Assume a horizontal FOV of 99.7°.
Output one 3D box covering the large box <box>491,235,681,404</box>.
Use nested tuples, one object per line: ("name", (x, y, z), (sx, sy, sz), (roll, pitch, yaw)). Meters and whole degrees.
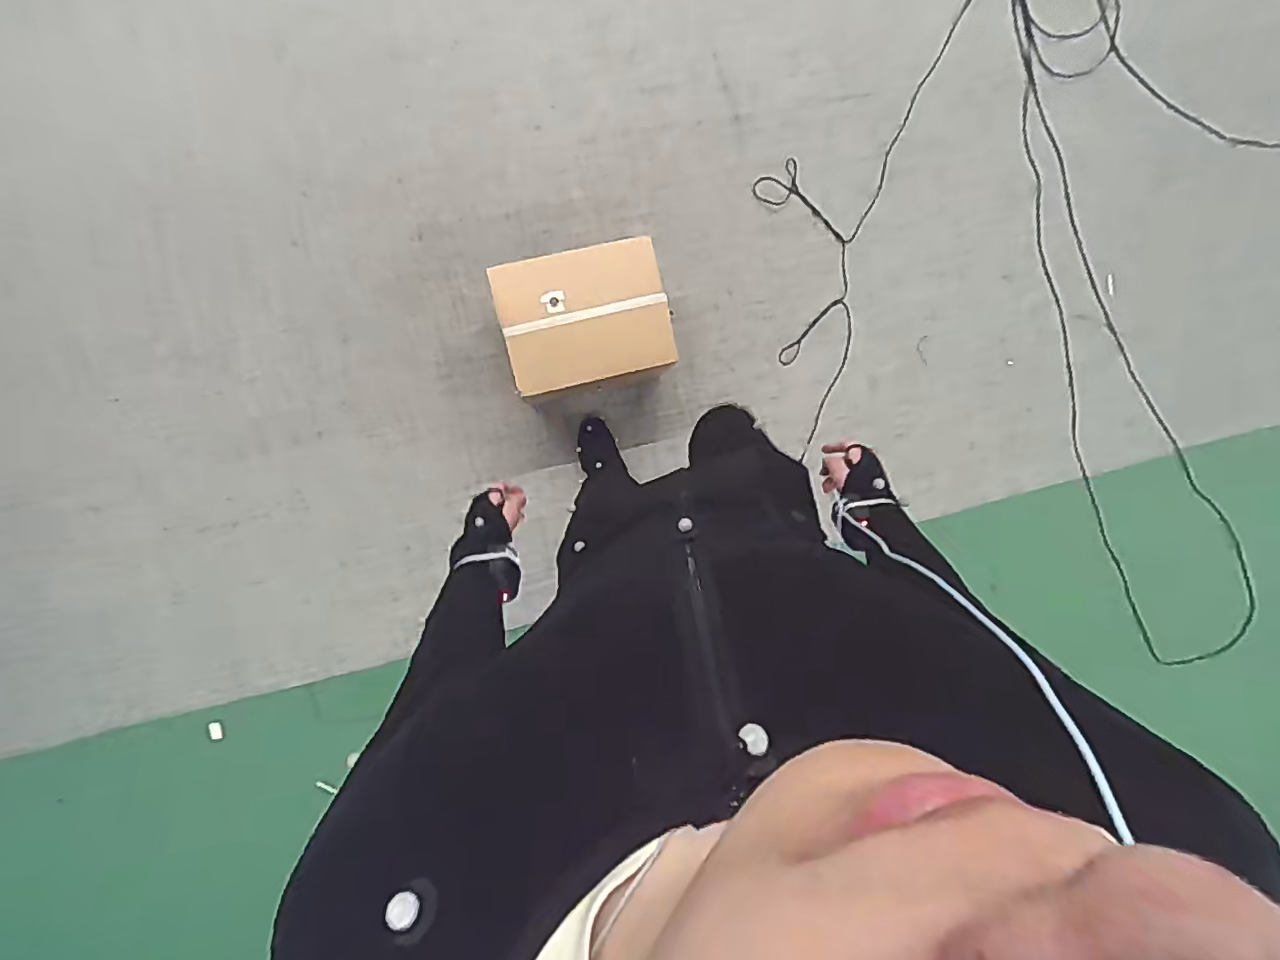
("large box", (-0.140, -0.408, 1.456), (0.408, 0.320, 0.320), (-15, 95, -5))
